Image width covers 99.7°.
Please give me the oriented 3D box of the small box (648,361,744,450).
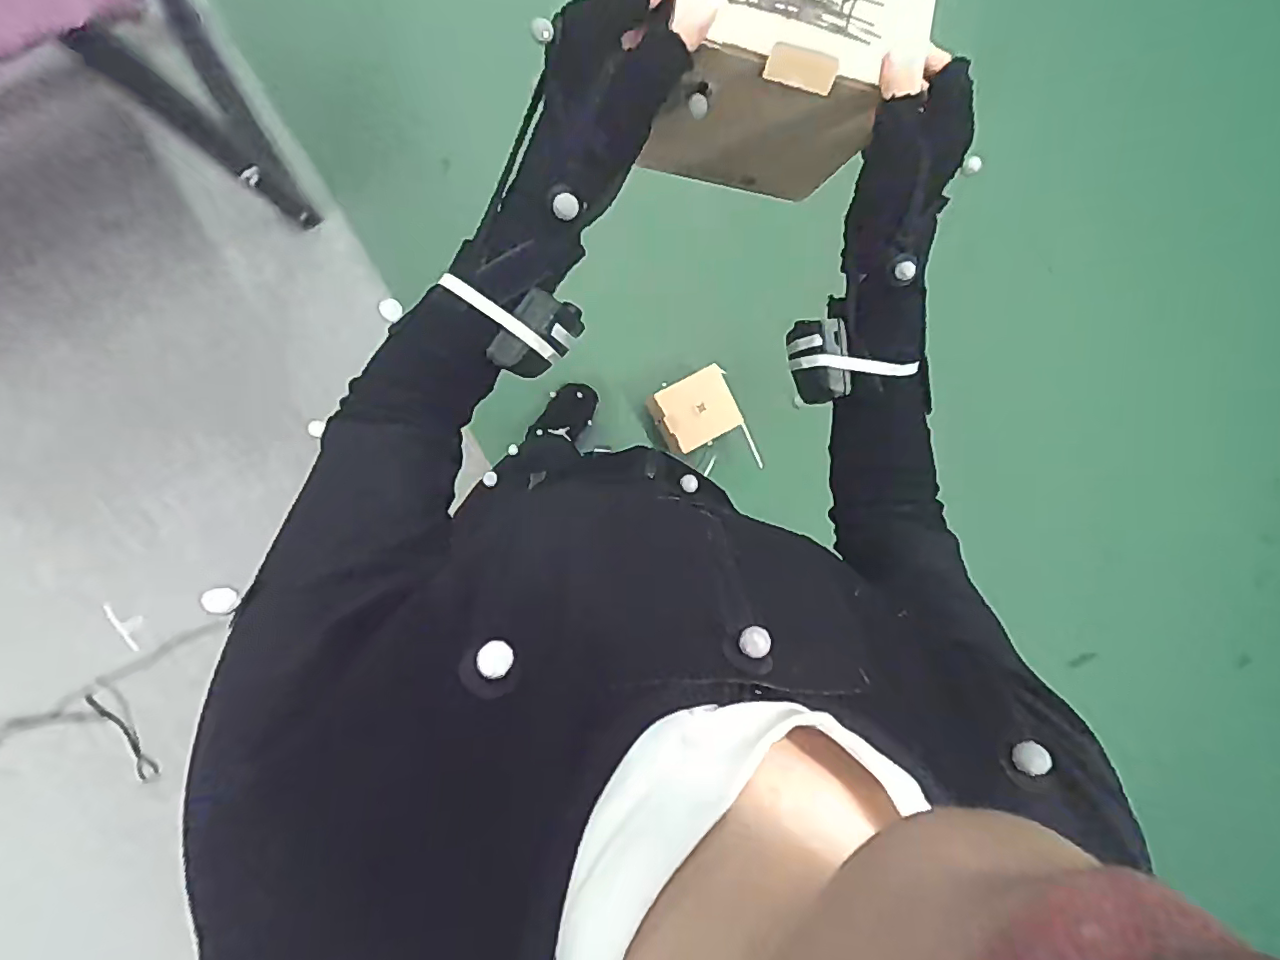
[{"bbox_3d":[0.138,-0.191,1.404,0.179,0.176,0.168,-28,98,-4],"label":"small box"}]
